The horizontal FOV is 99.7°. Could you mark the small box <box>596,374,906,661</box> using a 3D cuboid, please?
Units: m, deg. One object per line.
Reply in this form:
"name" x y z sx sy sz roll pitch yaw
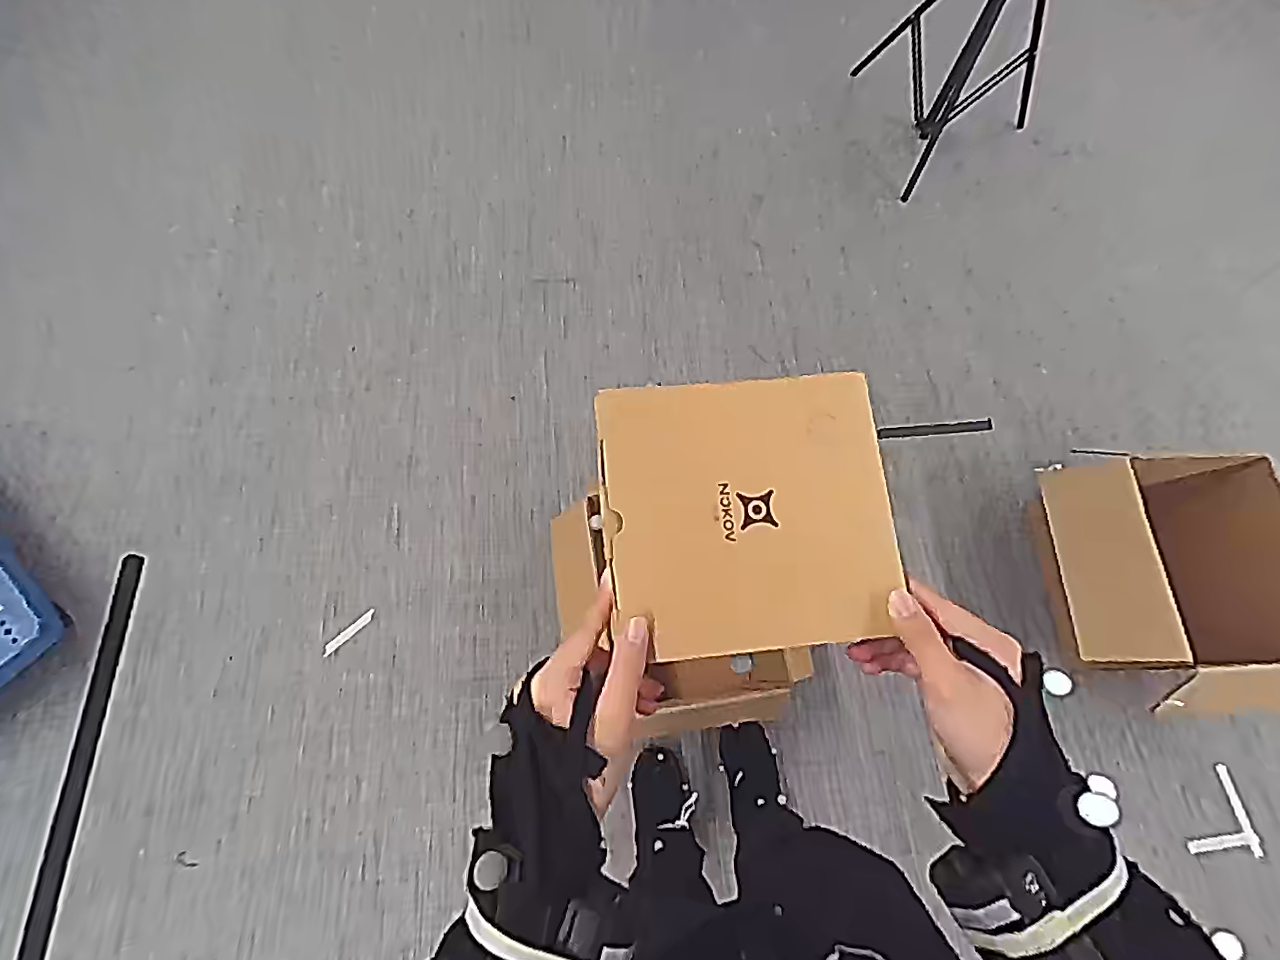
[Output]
"small box" 0.061 0.033 0.406 0.179 0.176 0.168 -5 79 -3
